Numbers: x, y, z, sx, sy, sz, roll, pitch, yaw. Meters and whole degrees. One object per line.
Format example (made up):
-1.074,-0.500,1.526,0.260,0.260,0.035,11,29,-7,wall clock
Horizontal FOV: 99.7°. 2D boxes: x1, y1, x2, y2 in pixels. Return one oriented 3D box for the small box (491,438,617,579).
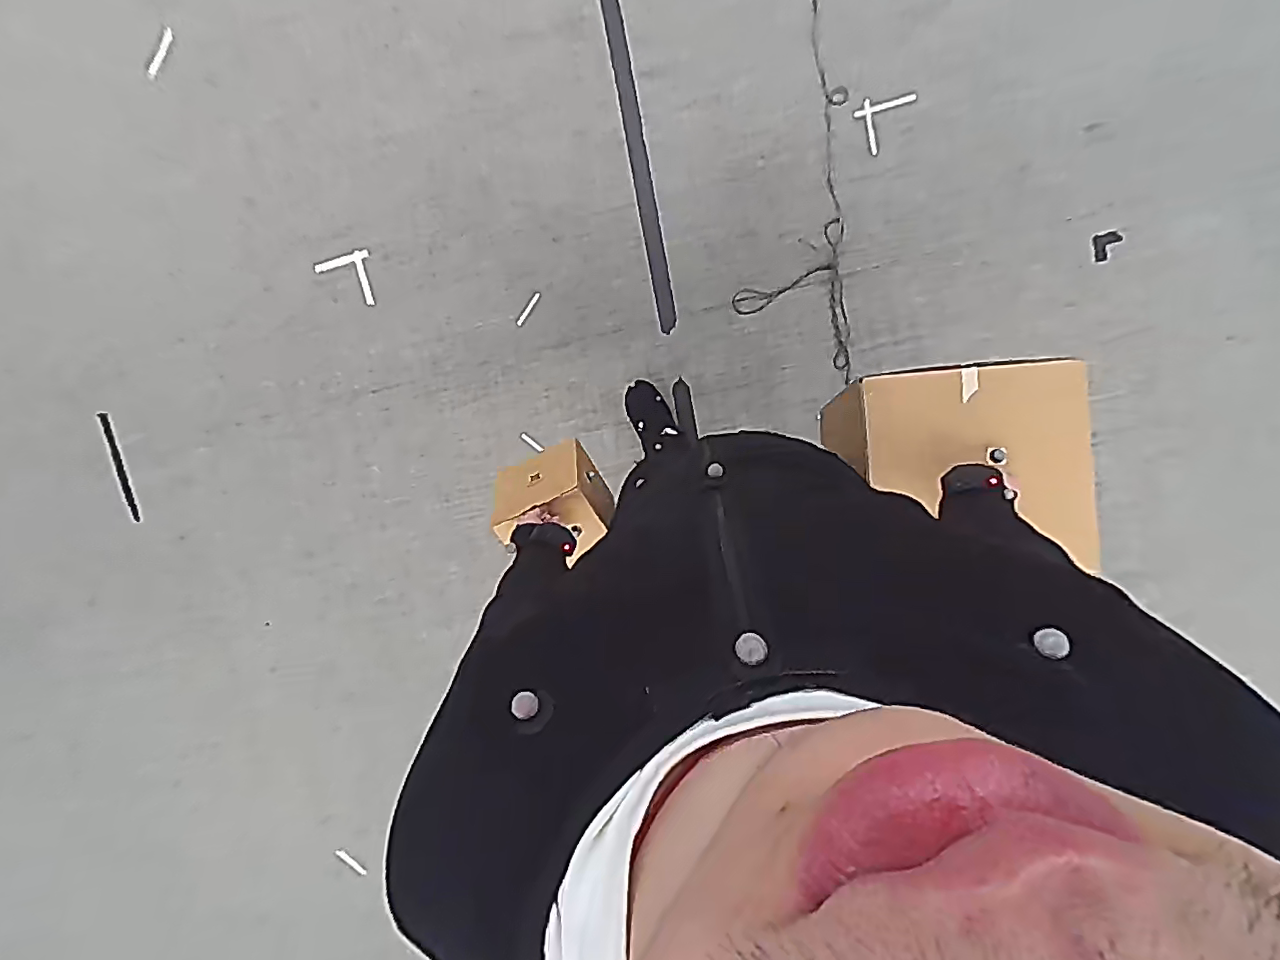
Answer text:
-0.151,0.059,0.994,0.168,0.179,0.176,-24,123,7,small box
